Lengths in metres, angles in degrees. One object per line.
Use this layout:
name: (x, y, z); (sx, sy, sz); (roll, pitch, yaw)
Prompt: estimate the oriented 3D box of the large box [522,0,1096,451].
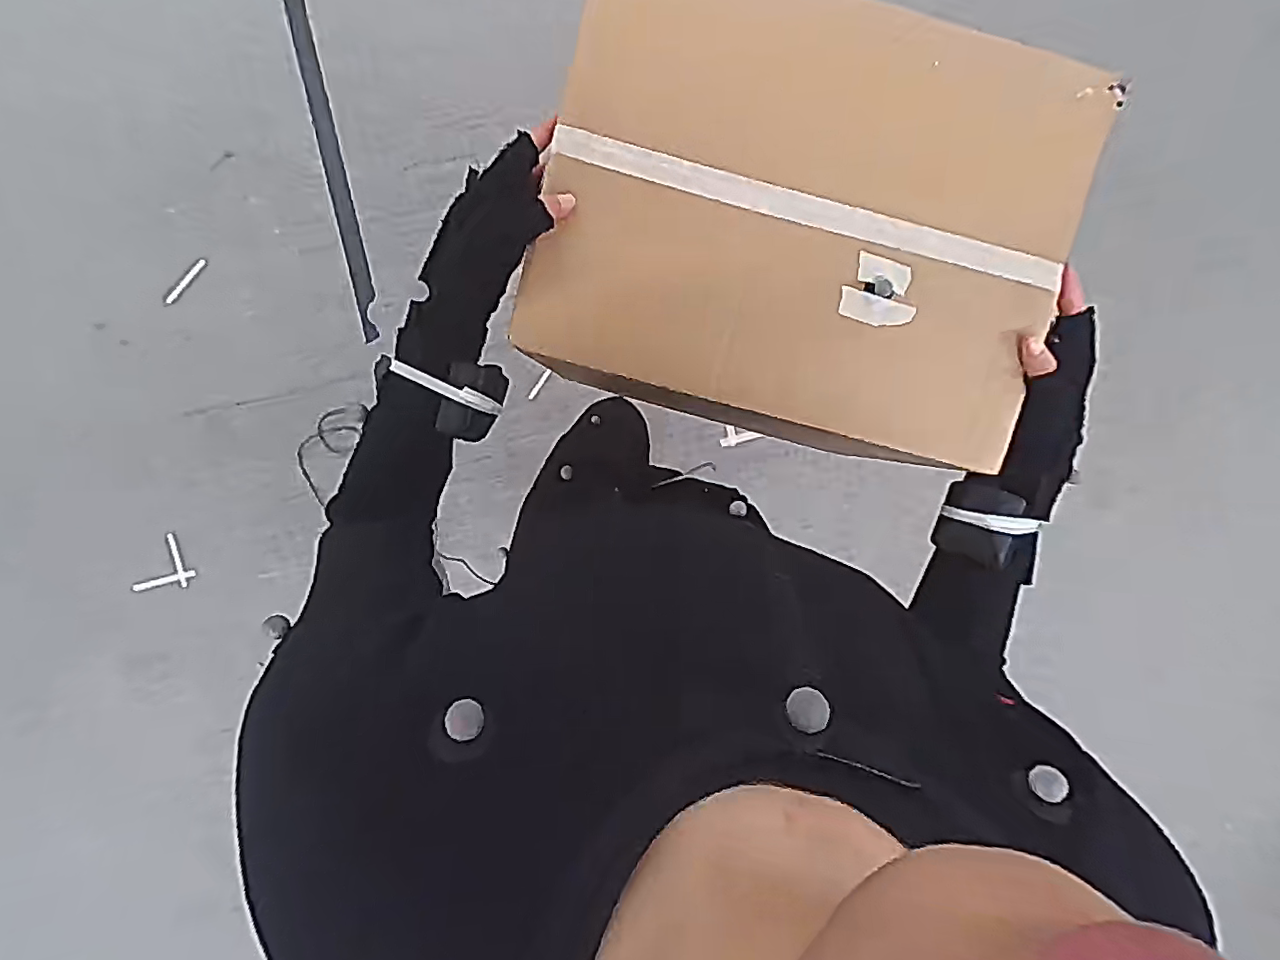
large box: (0.126, -0.231, 0.574); (0.408, 0.320, 0.320); (15, 96, -3)
